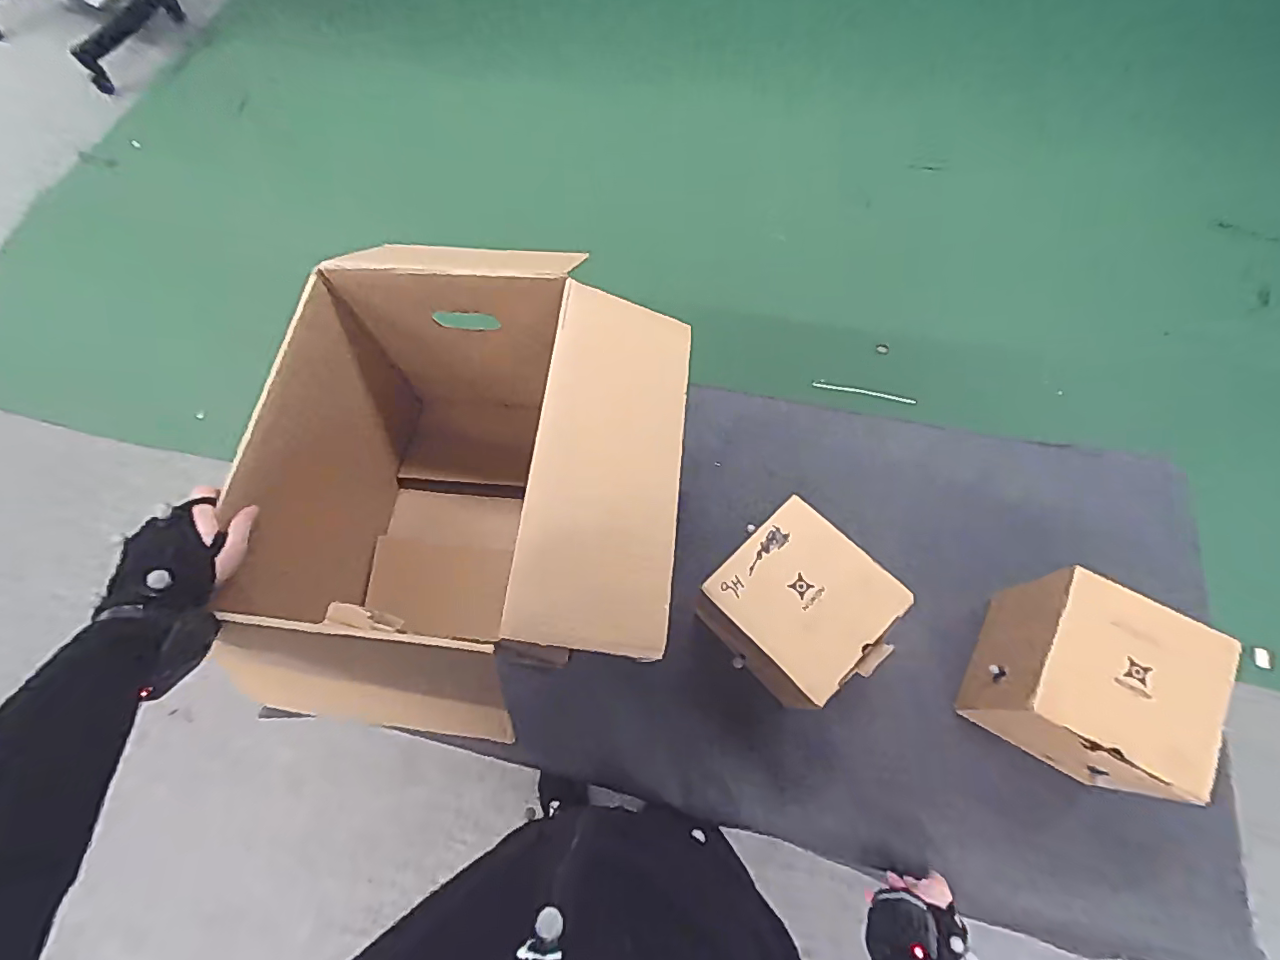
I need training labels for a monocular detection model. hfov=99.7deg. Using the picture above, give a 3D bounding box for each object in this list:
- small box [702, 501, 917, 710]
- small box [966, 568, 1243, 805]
[{"bbox_3d":[0.197,0.161,0.681,0.168,0.176,0.179,-41,71,-14],"label":"small box"},{"bbox_3d":[0.516,0.234,0.627,0.168,0.176,0.179,28,71,14],"label":"small box"}]
